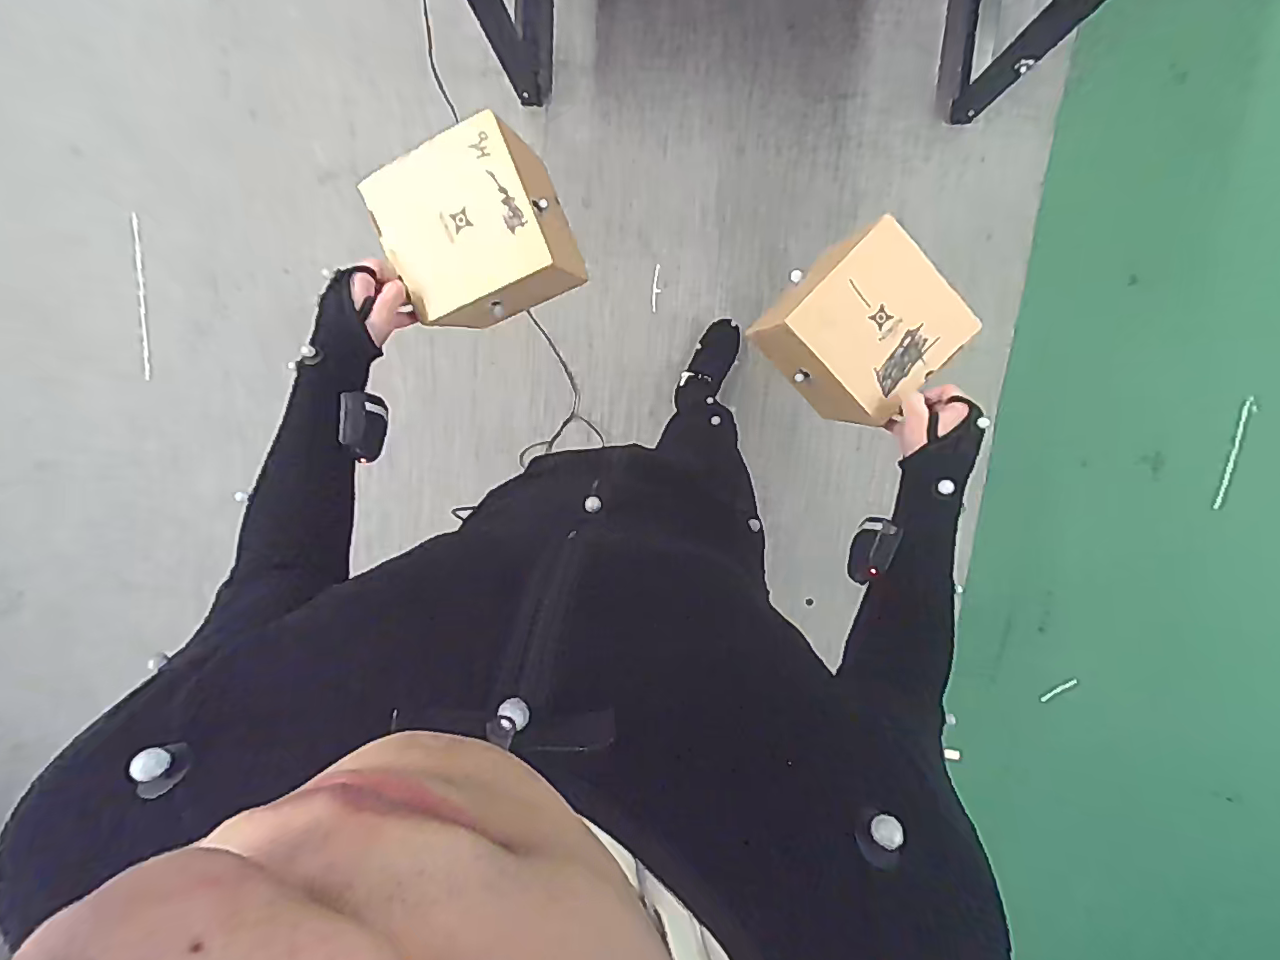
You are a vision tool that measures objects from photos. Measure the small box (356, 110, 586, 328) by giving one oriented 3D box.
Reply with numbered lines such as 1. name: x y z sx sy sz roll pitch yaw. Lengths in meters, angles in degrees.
1. small box: -0.189 -0.291 0.653 0.179 0.176 0.168 -19 100 13

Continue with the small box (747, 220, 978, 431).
1. small box: 0.266 -0.185 0.687 0.179 0.176 0.168 43 93 -9
